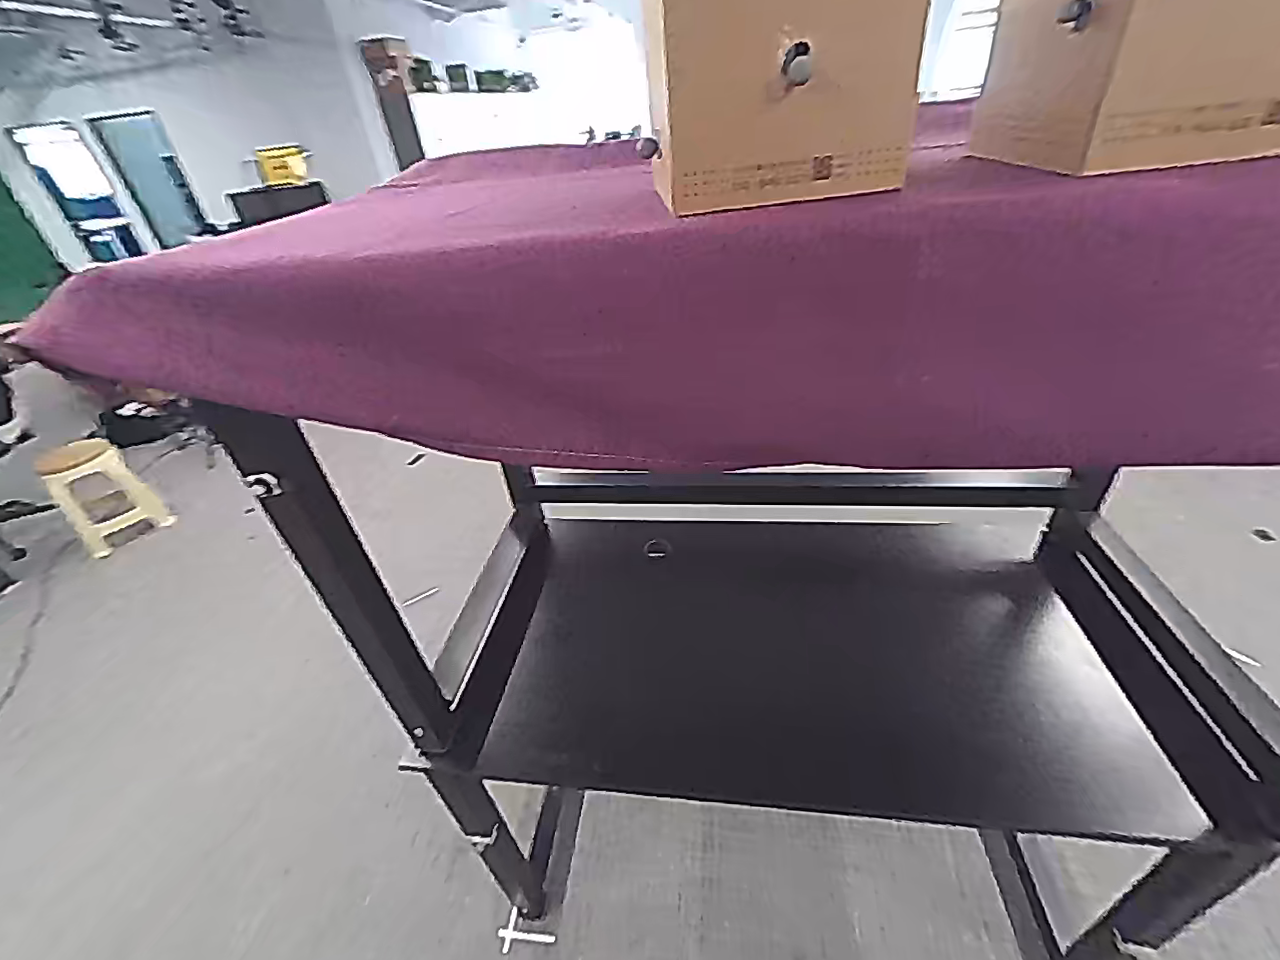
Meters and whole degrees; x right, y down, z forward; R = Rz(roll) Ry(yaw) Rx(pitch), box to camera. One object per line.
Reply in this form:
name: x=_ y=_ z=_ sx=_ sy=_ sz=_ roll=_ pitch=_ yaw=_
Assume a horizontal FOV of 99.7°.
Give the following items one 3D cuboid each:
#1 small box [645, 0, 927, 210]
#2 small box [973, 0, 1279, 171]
small box: x=0.096 y=-0.310 z=0.405 sx=0.168 sy=0.176 sz=0.179 roll=-7 pitch=34 yaw=1
small box: x=0.364 y=-0.317 z=0.369 sx=0.168 sy=0.176 sz=0.179 roll=-2 pitch=34 yaw=6
